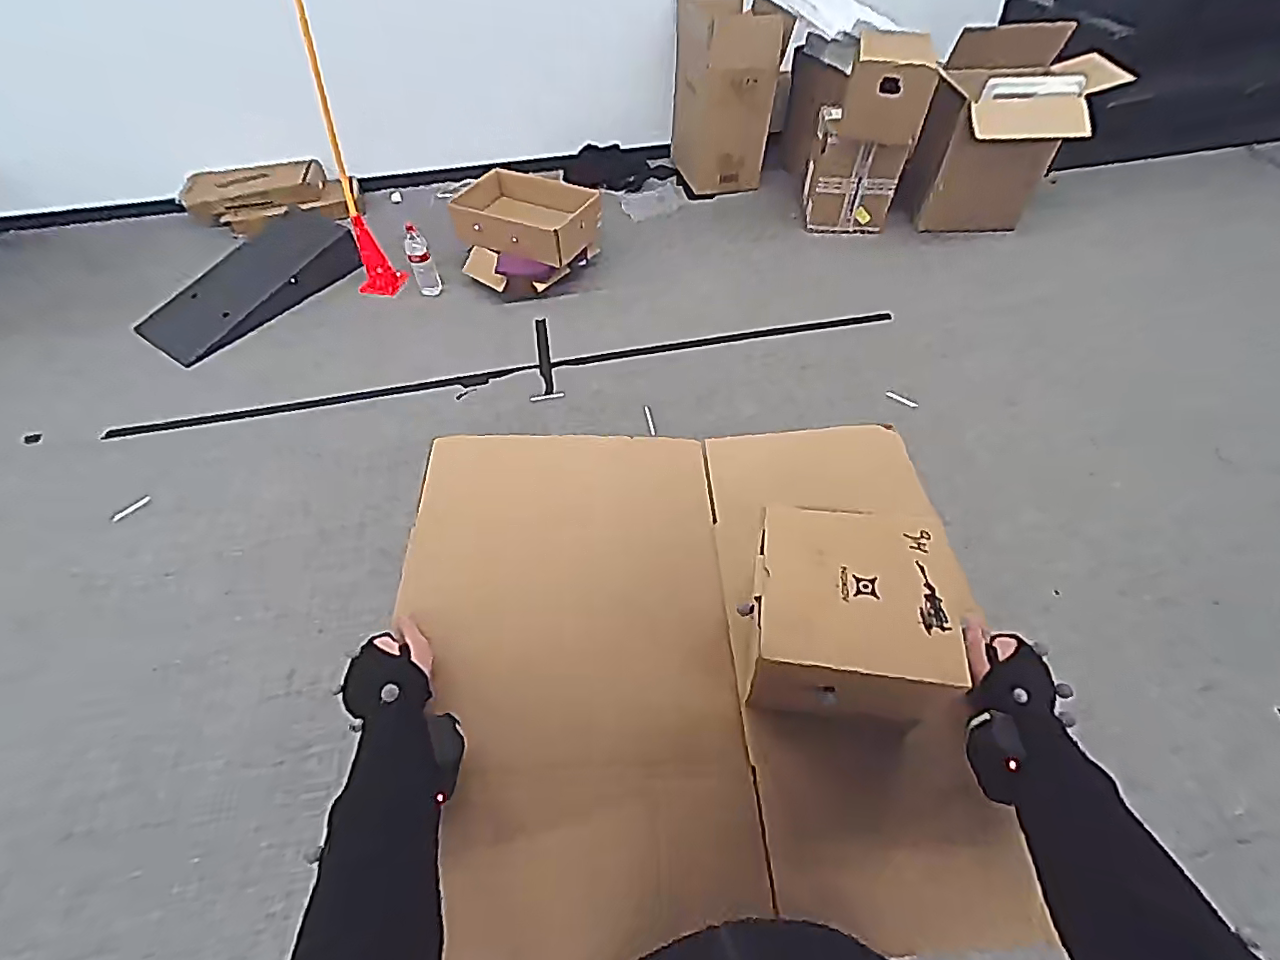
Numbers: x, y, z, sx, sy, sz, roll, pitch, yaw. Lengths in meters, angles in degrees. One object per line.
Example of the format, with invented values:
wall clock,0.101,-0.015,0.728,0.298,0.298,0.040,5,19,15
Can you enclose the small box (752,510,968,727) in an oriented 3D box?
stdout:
small box,0.214,0.150,0.577,0.179,0.176,0.168,4,55,11
